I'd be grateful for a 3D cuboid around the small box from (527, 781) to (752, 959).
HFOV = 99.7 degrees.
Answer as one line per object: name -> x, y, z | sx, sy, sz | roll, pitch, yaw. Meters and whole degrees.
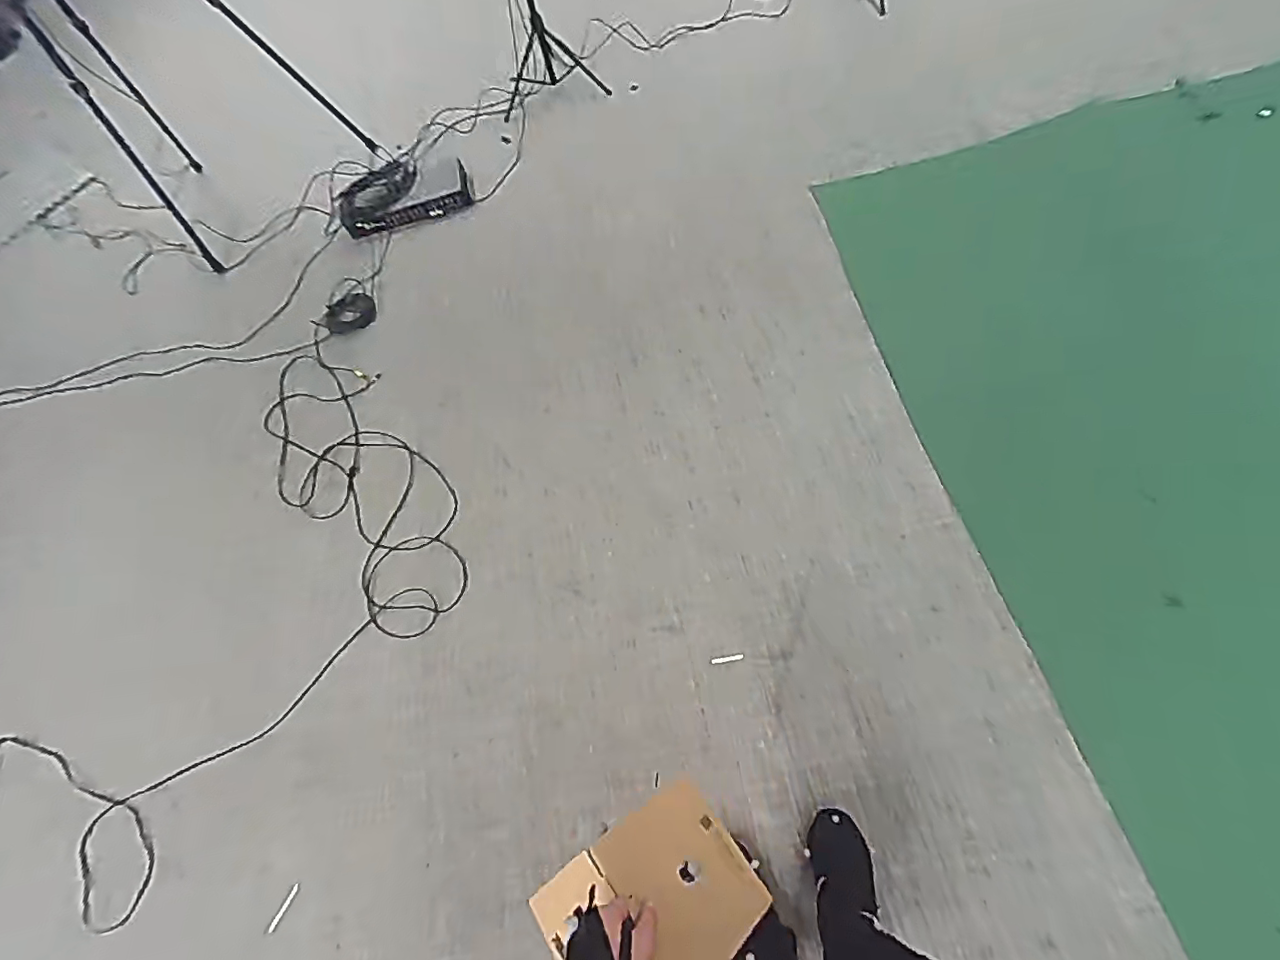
small box -> 0.005, 0.494, 0.629 | 0.168, 0.176, 0.179 | 47, 125, 24
